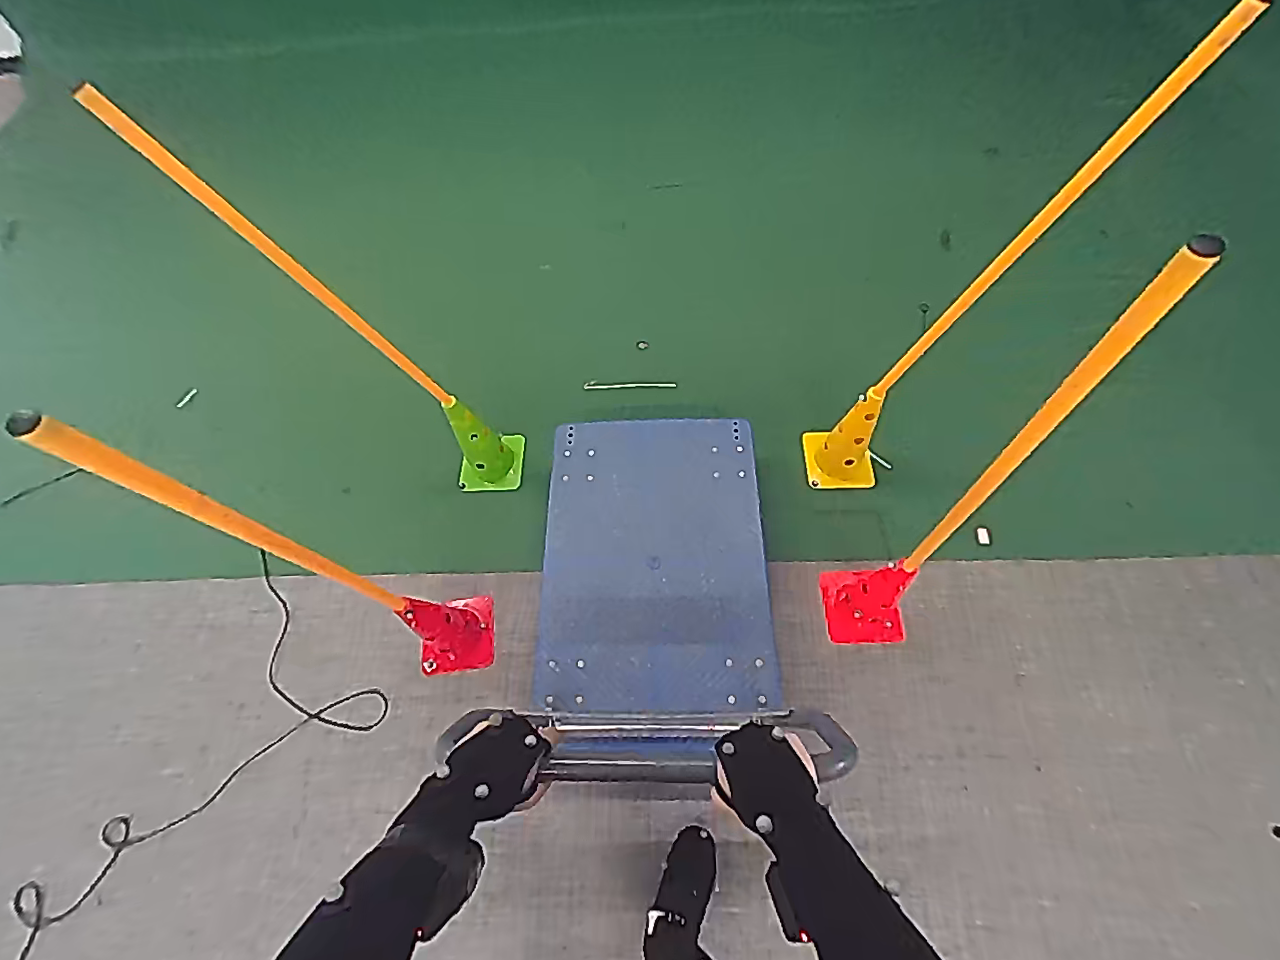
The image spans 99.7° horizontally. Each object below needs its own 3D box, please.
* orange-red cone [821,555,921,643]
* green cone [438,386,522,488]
[{"bbox_3d":[0.589,0.257,1.310,0.198,0.360,0.199,-1,62,3],"label":"orange-red cone"},{"bbox_3d":[-0.497,-0.146,1.583,0.200,0.368,0.202,-2,62,4],"label":"green cone"}]
